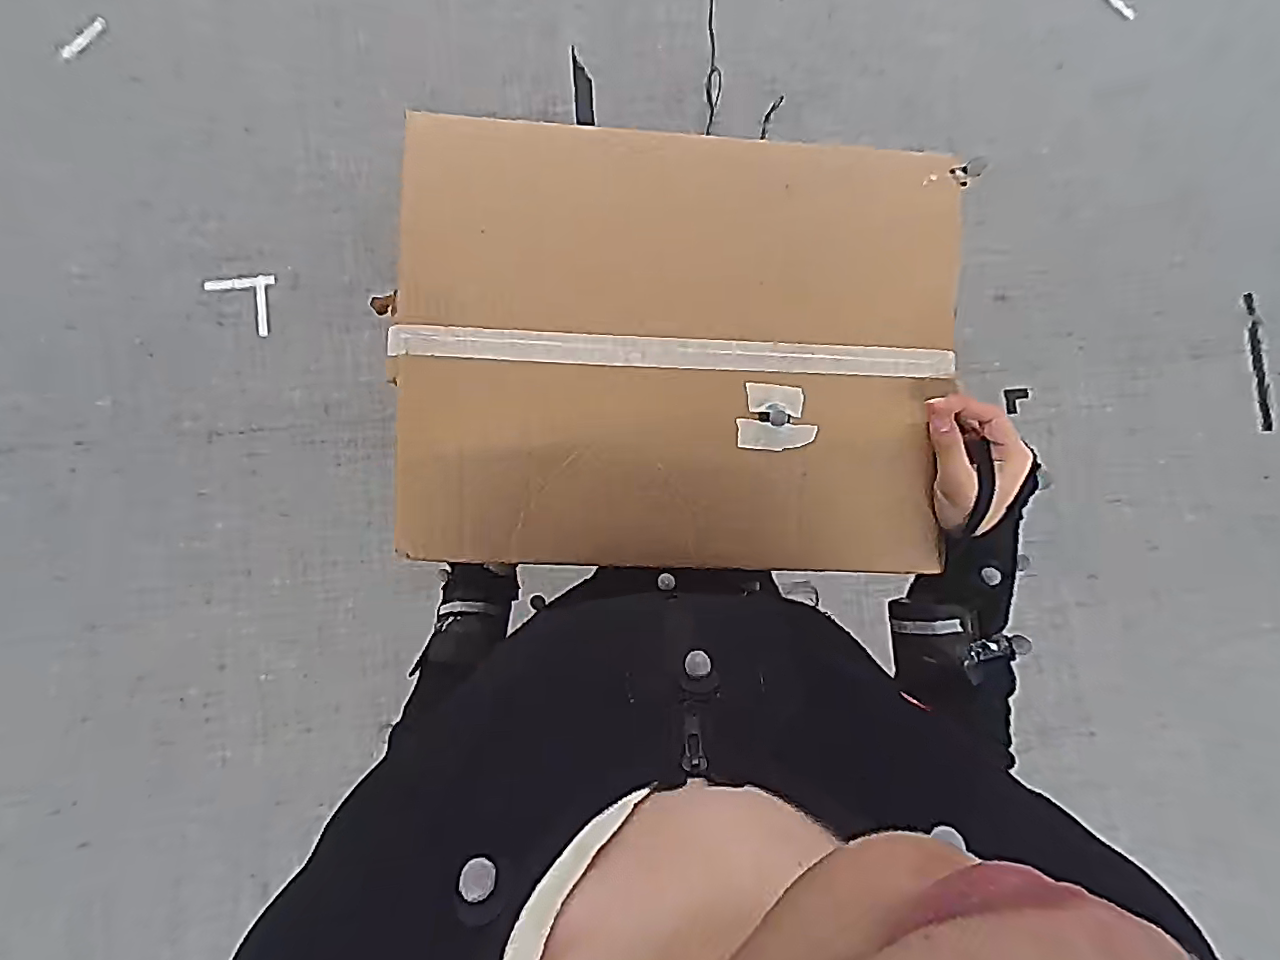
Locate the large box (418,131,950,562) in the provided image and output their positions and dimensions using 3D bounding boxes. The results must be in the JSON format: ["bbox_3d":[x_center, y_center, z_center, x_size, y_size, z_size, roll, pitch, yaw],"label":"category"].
[{"bbox_3d":[0.024,-0.097,0.551,0.408,0.320,0.320,1,92,-5],"label":"large box"}]
